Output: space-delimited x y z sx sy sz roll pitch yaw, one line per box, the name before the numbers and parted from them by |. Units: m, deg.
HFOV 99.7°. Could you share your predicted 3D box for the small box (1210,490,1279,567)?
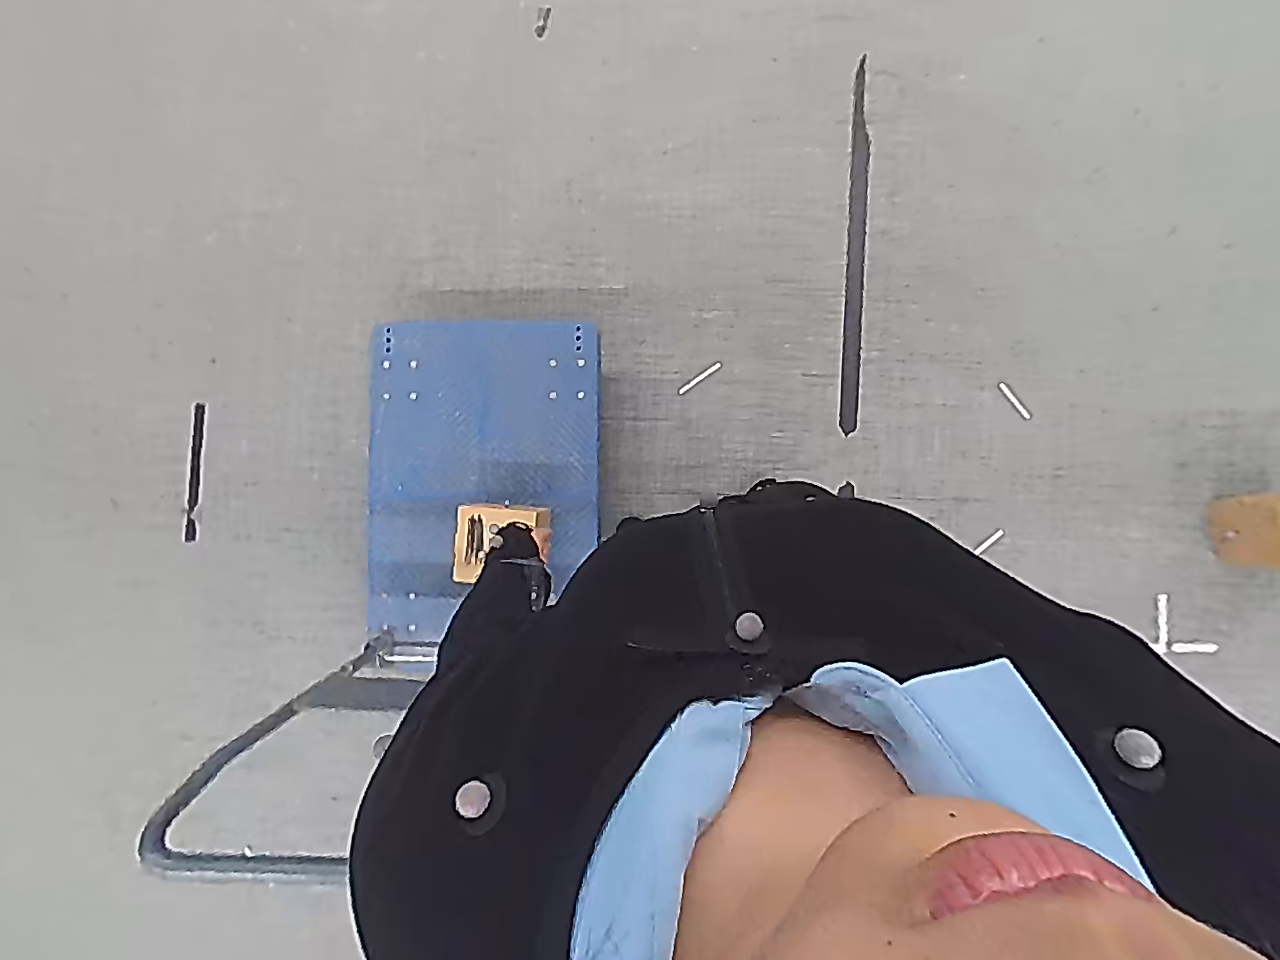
small box | 1.627 0.118 1.371 0.179 0.176 0.168 -10 88 2
